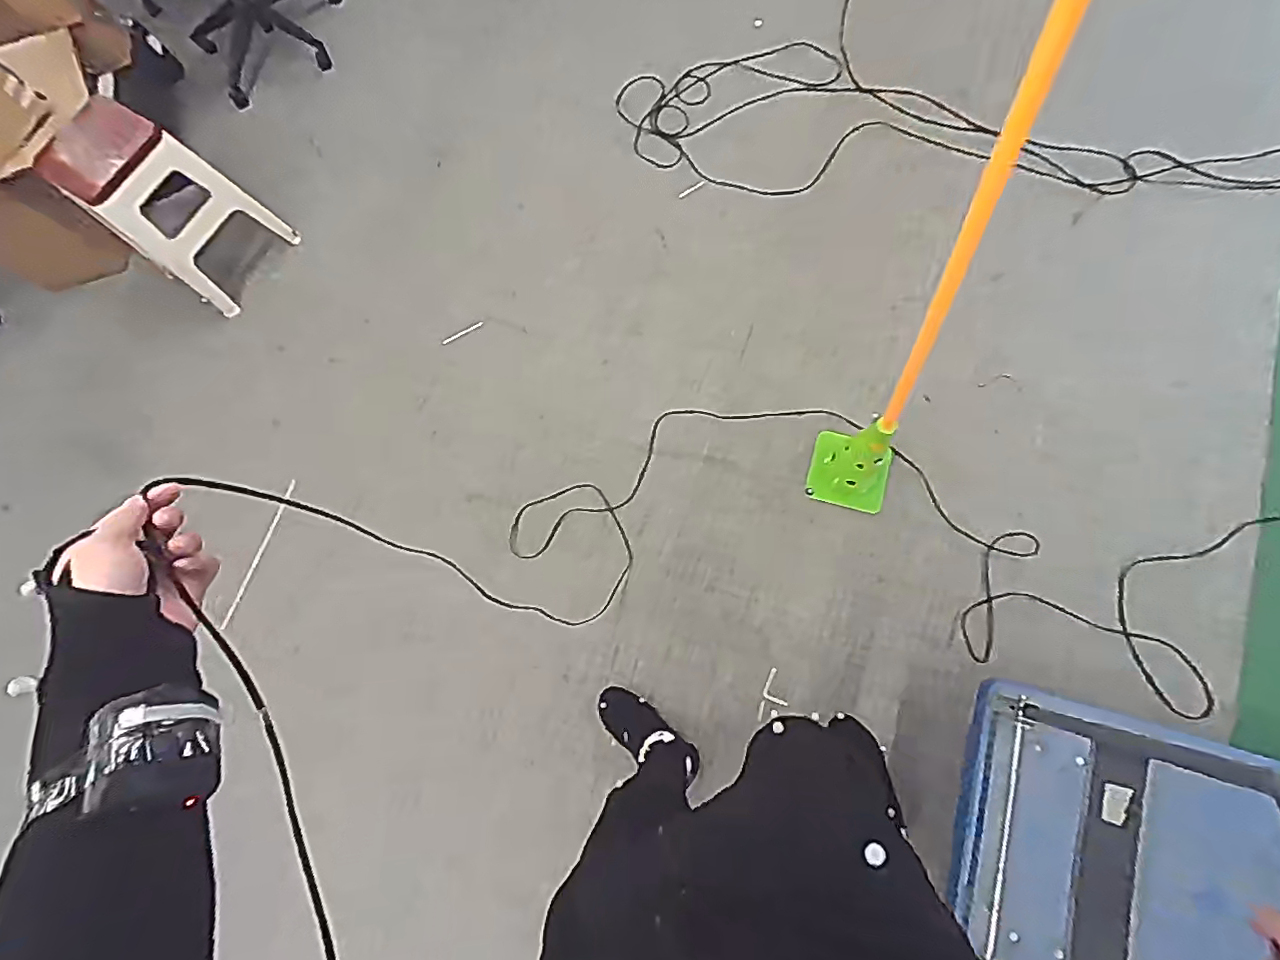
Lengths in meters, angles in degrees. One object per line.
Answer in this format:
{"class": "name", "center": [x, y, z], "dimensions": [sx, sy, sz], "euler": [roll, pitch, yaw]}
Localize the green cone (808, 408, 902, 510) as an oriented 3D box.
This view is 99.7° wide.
{"class": "green cone", "center": [0.549, -0.077, 1.292], "dimensions": [0.200, 0.368, 0.202], "euler": [14, 76, 11]}
